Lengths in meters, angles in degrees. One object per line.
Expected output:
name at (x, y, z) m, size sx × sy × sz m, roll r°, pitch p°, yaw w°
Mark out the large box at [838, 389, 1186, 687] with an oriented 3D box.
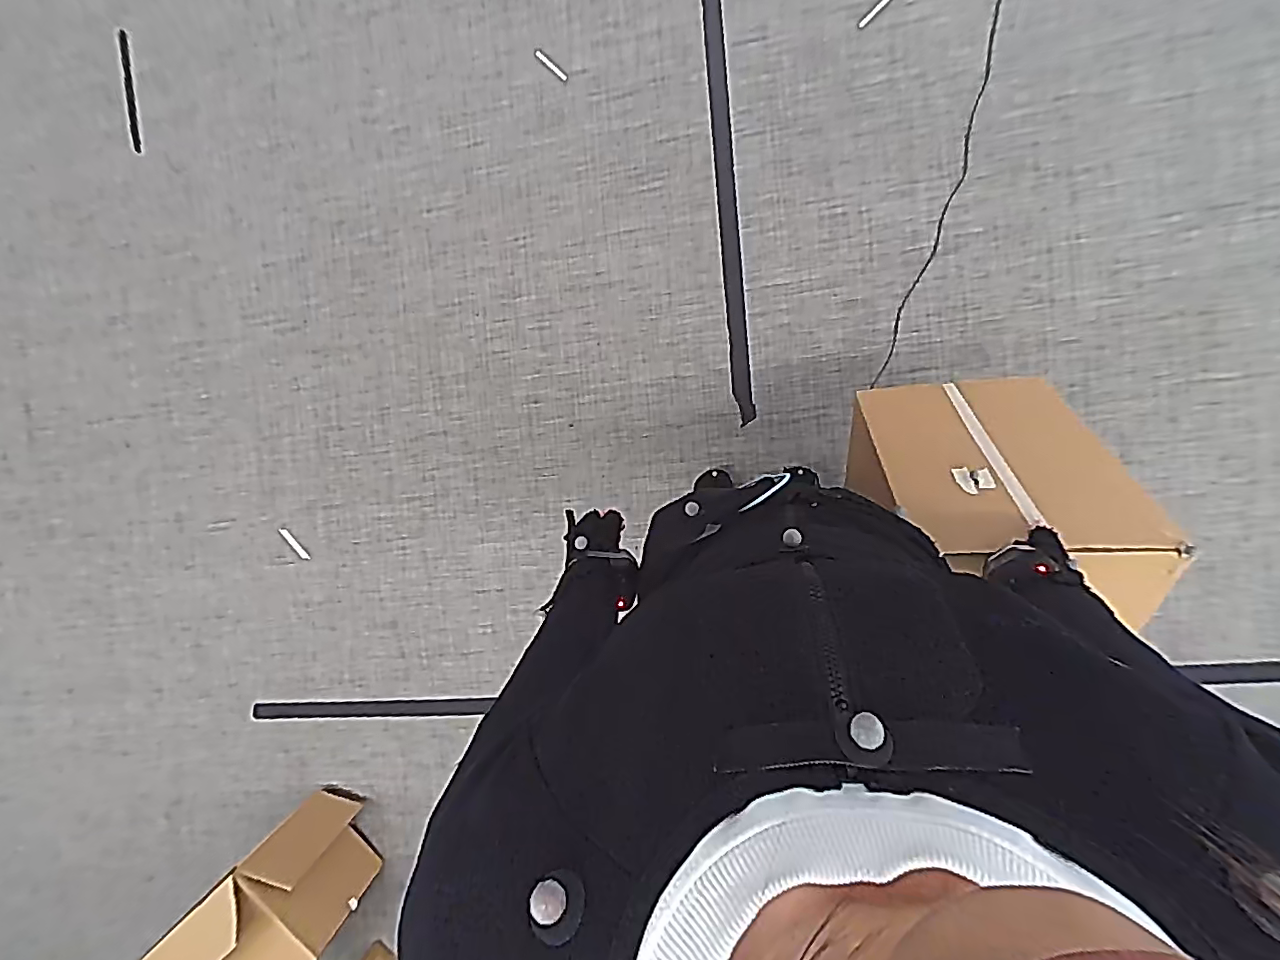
large box at (0.545, 0.087, 0.916) m, size 0.320 × 0.408 × 0.320 m, roll -3°, pitch 130°, yaw 10°
